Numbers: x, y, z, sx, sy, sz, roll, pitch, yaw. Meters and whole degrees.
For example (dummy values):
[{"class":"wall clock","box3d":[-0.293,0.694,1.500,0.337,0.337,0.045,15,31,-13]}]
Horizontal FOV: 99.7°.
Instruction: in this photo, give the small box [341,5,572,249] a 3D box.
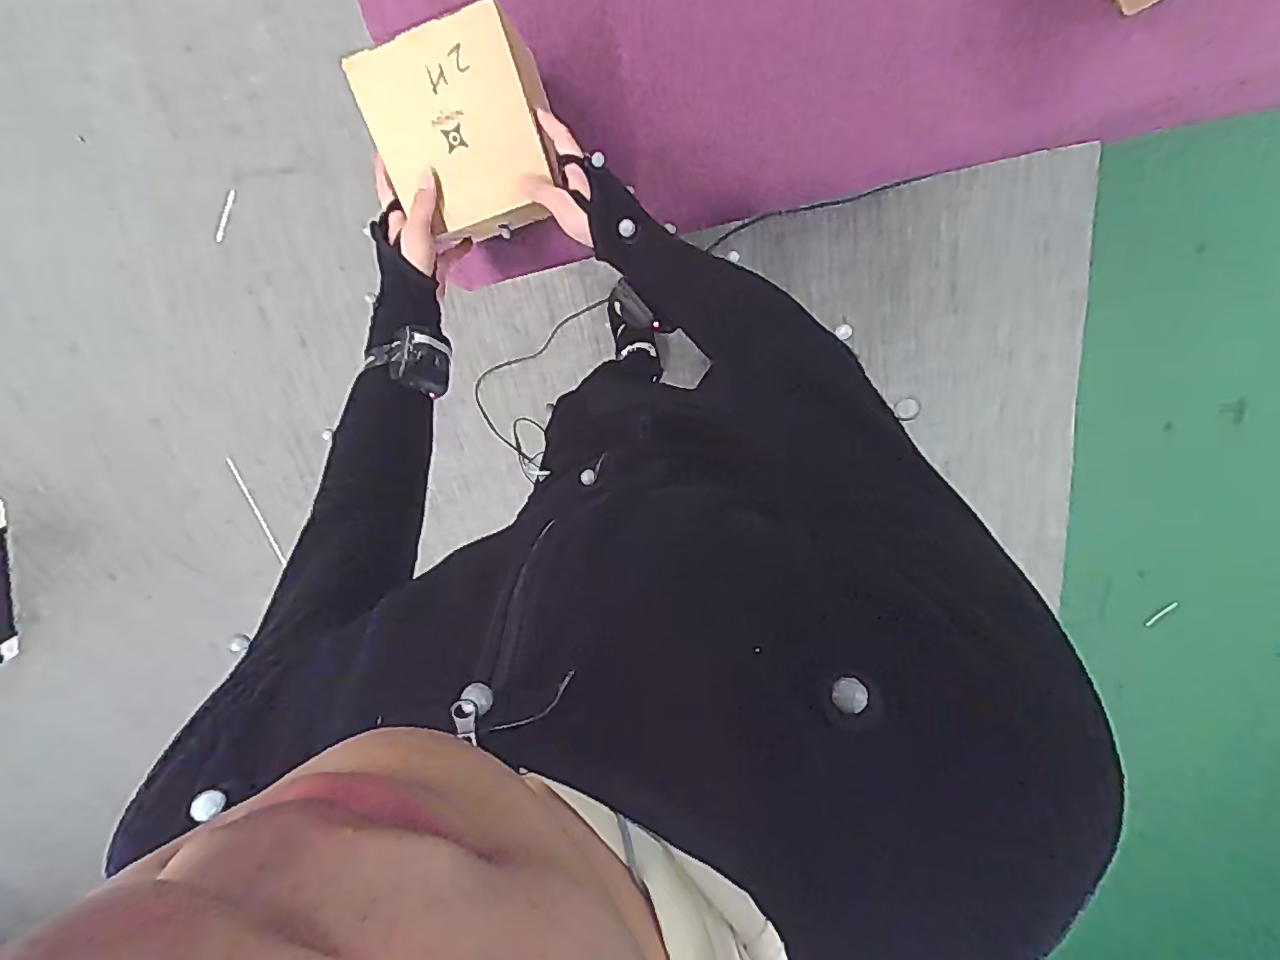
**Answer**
[{"class":"small box","box3d":[-0.187,-0.380,0.618,0.168,0.176,0.179,-15,112,8]}]
